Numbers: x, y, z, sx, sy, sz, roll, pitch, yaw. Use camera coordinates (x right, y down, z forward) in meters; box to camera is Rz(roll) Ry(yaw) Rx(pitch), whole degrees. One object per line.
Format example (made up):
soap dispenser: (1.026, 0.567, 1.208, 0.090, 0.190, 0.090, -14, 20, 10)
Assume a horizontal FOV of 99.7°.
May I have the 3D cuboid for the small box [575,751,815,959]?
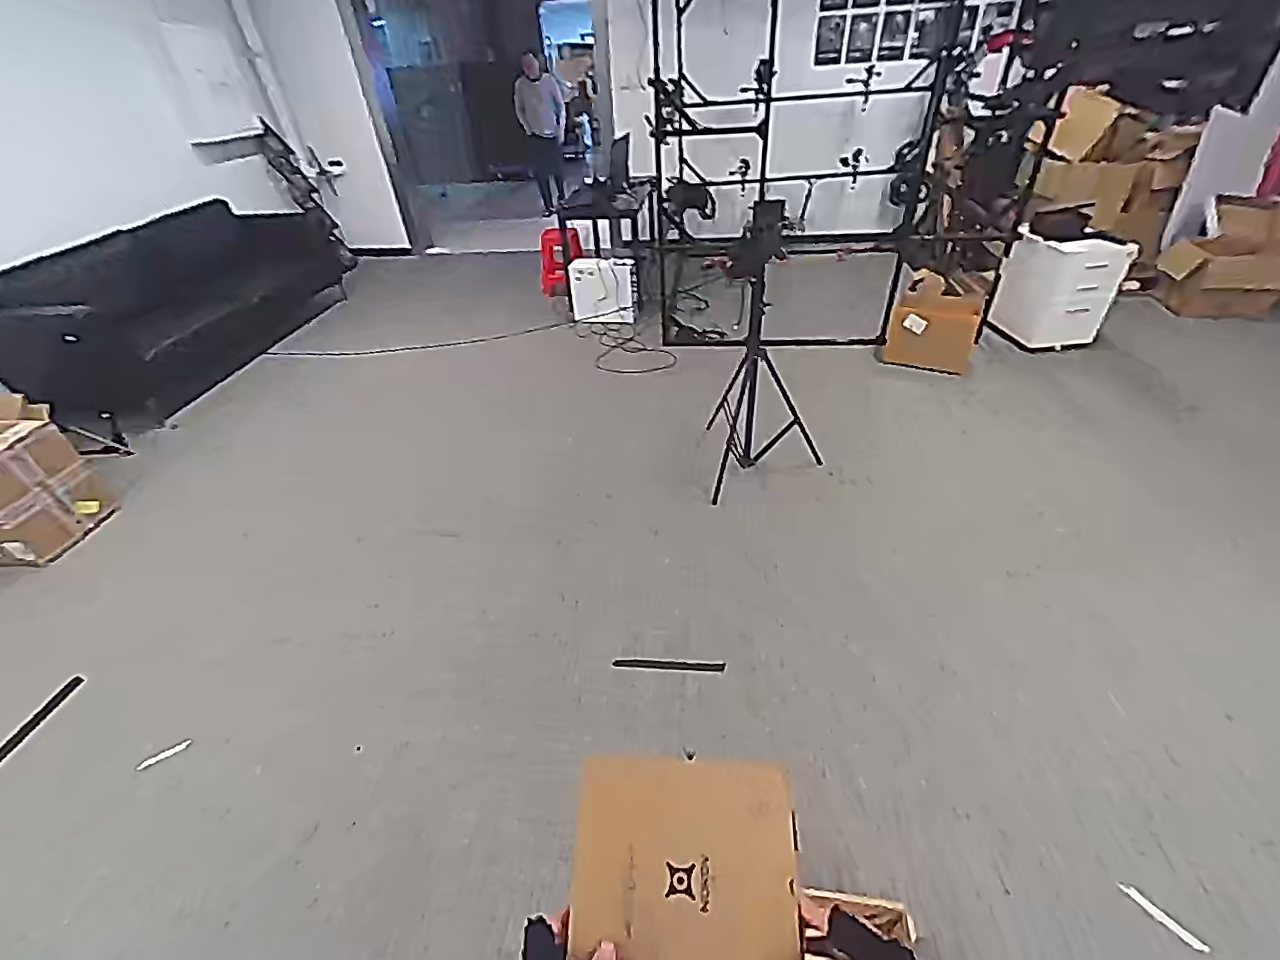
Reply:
small box: (0.044, 0.336, 0.483, 0.179, 0.176, 0.168, -1, 62, 3)
